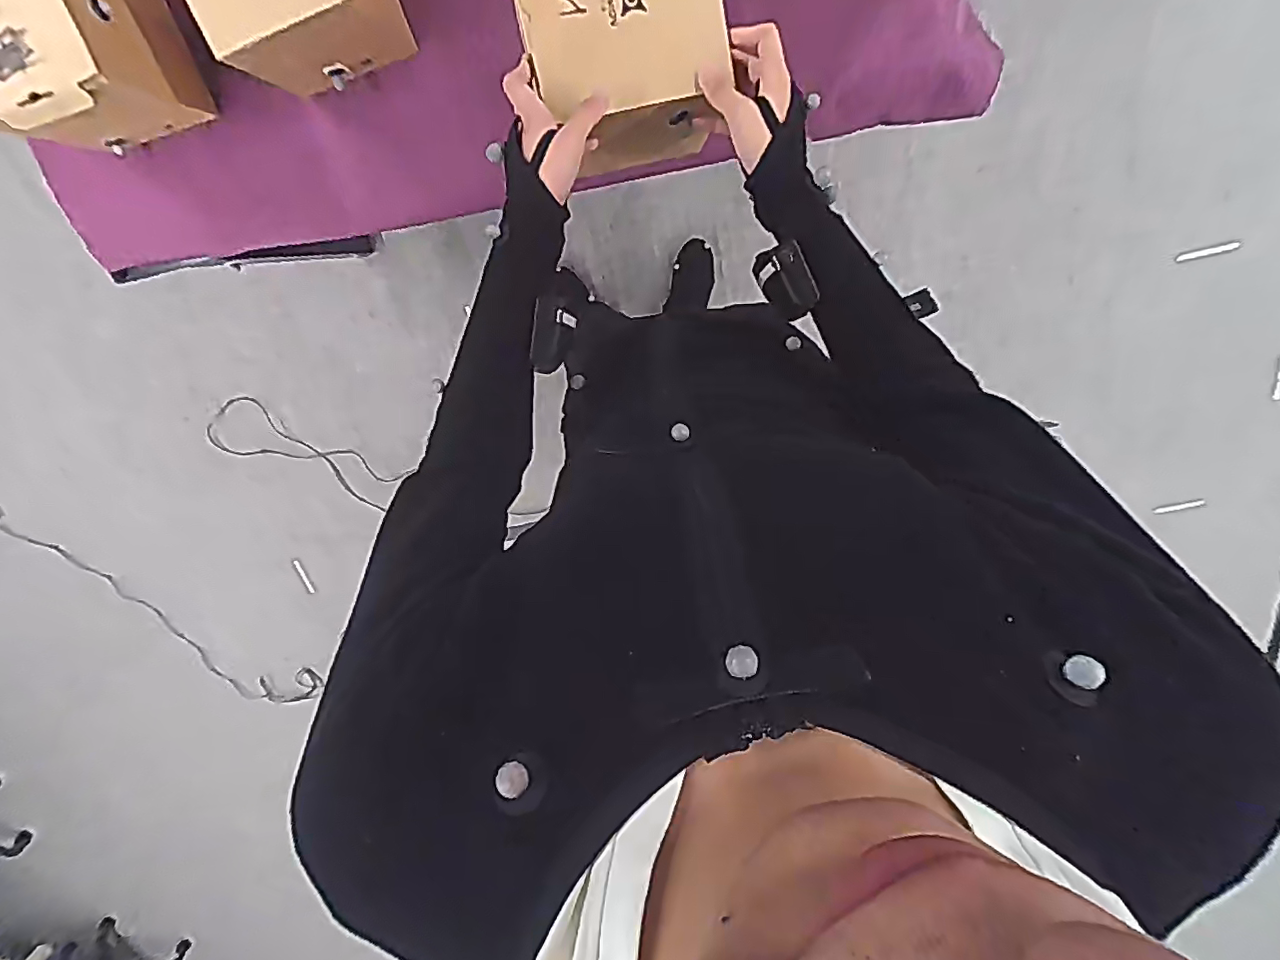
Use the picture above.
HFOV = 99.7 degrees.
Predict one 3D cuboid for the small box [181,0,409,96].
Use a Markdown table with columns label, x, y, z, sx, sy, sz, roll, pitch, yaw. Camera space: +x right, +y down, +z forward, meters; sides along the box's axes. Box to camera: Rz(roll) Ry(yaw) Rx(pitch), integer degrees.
| label | x | y | z | sx | sy | sz | roll | pitch | yaw |
| --- | --- | --- | --- | --- | --- | --- | --- | --- | --- |
| small box | -0.390 | -0.564 | 0.589 | 0.168 | 0.176 | 0.179 | -16 | 112 | 8 |

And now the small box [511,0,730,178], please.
| label | x | y | z | sx | sy | sz | roll | pitch | yaw |
| --- | --- | --- | --- | --- | --- | --- | --- | --- | --- |
| small box | -0.027 | -0.424 | 0.535 | 0.179 | 0.176 | 0.168 | -13 | 105 | -2 |

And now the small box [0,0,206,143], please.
| label | x | y | z | sx | sy | sz | roll | pitch | yaw |
| --- | --- | --- | --- | --- | --- | --- | --- | --- | --- |
| small box | -0.657 | -0.505 | 0.611 | 0.168 | 0.176 | 0.179 | -14 | 111 | 5 |
